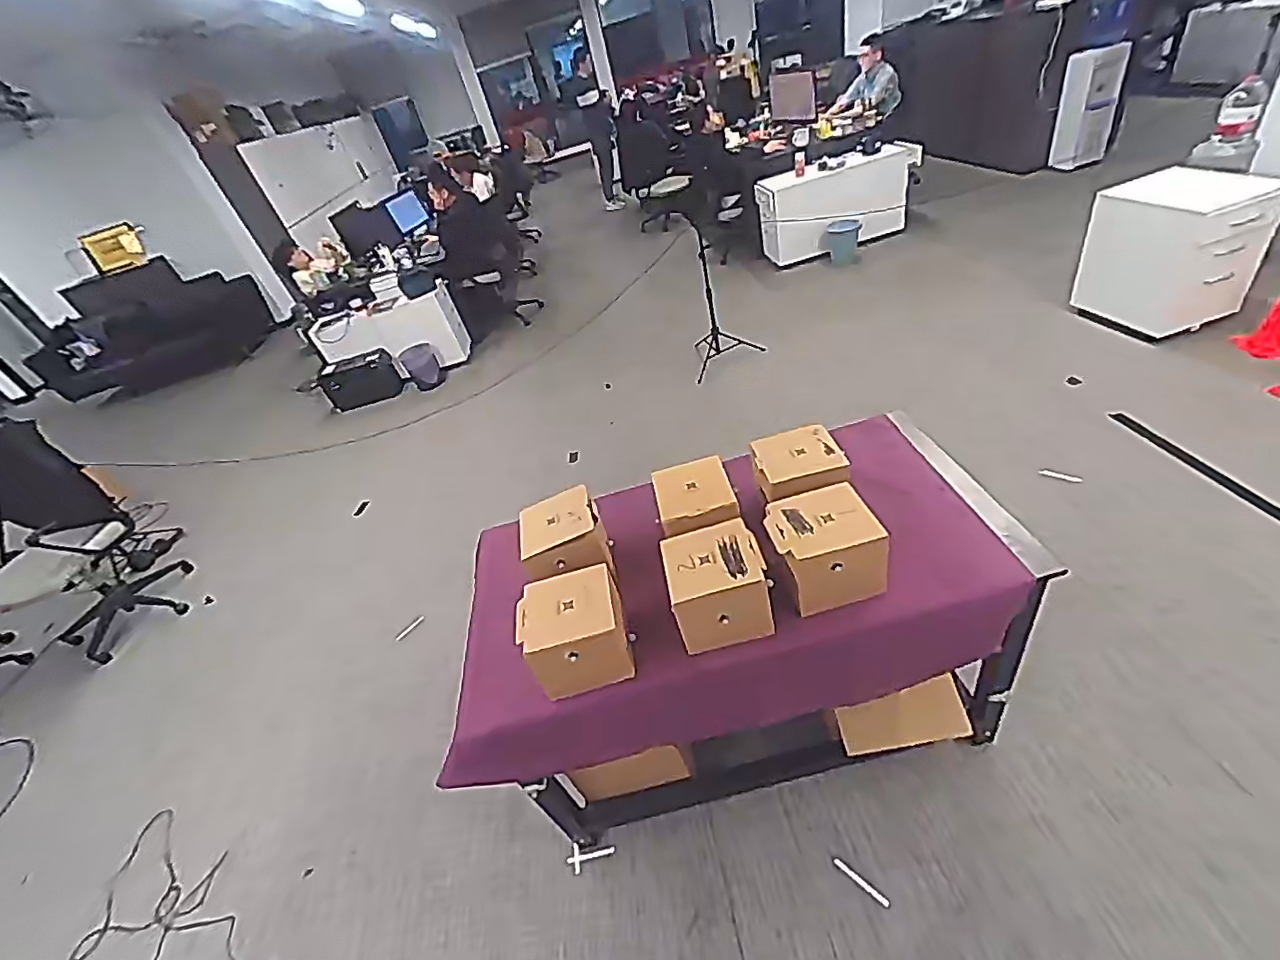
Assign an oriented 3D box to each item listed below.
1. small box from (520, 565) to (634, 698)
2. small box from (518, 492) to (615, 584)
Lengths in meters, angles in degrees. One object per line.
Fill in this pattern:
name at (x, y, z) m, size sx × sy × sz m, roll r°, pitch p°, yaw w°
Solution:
small box at (-0.123, 0.303, 1.070) m, size 0.179 × 0.176 × 0.168 m, roll -16°, pitch 38°, yaw 1°
small box at (-0.172, 0.162, 1.260) m, size 0.179 × 0.176 × 0.168 m, roll -17°, pitch 39°, yaw 0°
